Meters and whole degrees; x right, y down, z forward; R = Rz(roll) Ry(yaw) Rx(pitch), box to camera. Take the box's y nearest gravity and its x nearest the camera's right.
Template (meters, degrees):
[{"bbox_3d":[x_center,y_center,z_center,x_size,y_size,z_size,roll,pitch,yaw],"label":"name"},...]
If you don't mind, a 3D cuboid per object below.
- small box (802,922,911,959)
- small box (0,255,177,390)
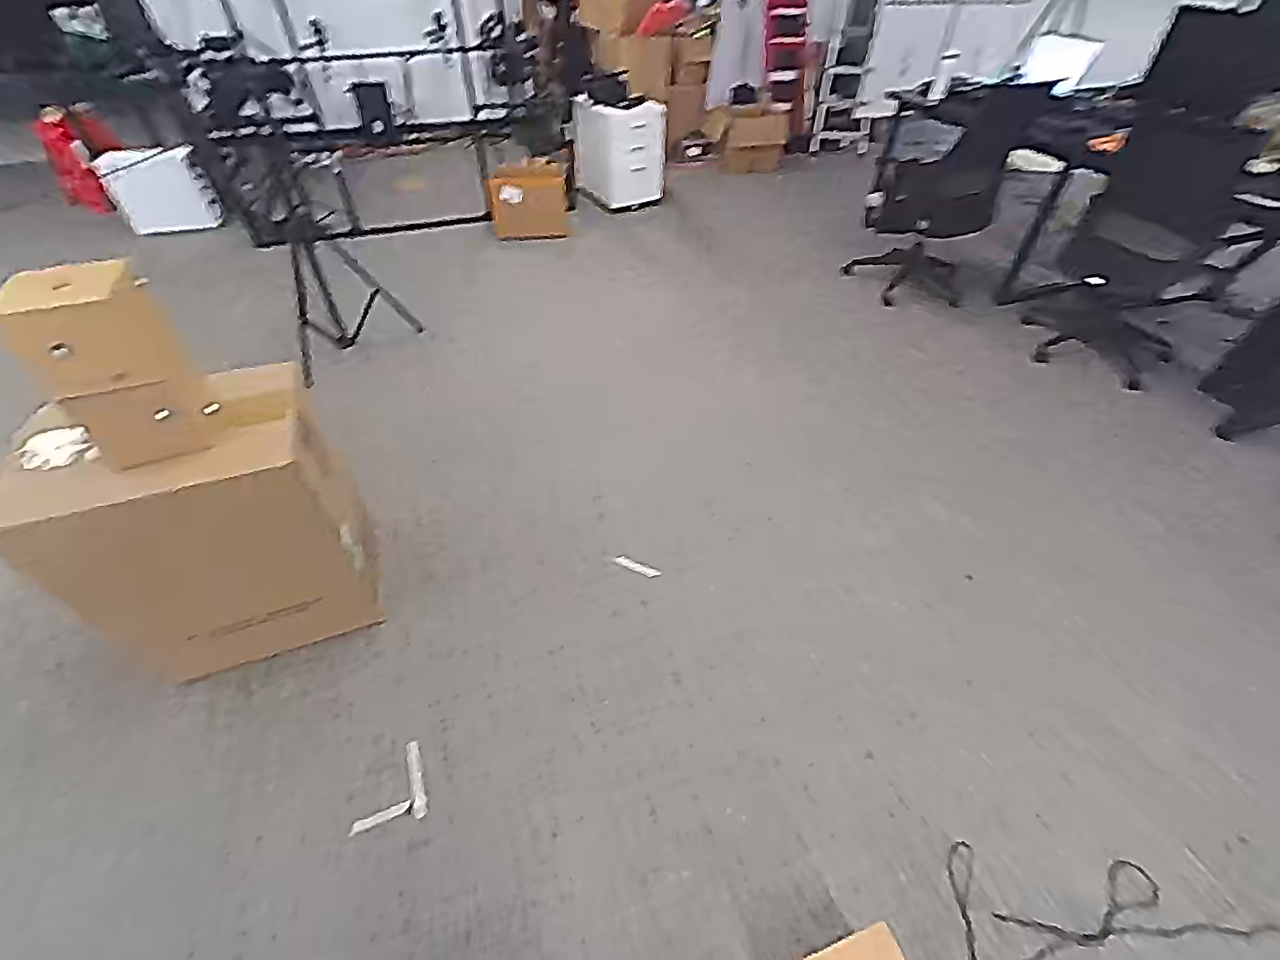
[{"bbox_3d":[0.383,0.904,0.932,0.179,0.176,0.168,-13,45,-14],"label":"small box"},{"bbox_3d":[-0.978,-0.277,0.970,0.168,0.176,0.179,-17,47,-18],"label":"small box"}]
